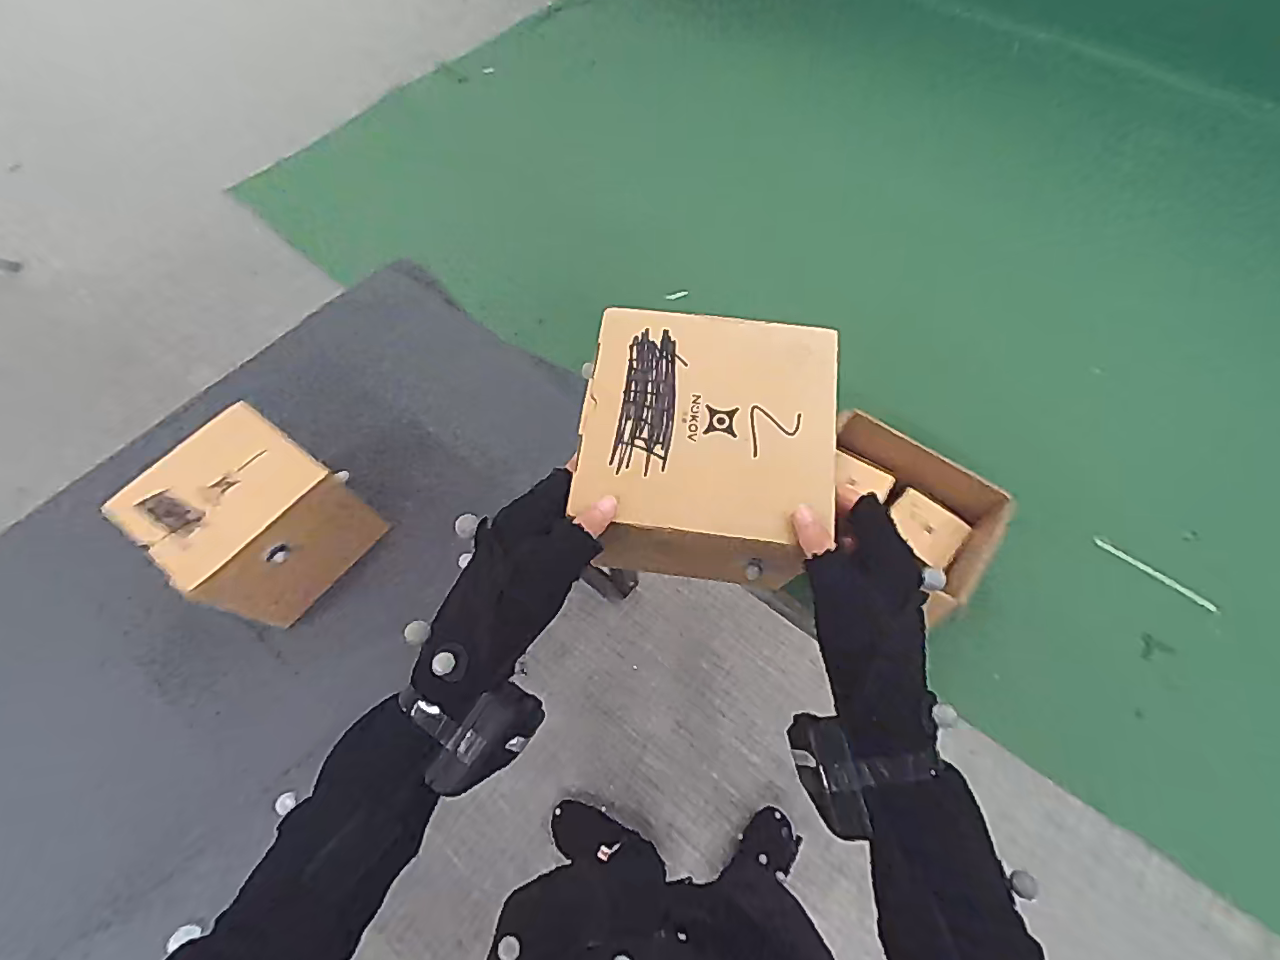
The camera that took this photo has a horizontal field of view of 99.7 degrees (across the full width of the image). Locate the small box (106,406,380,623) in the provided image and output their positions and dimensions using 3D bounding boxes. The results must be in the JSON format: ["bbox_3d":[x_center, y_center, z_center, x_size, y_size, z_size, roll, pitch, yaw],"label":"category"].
[{"bbox_3d":[-0.465,0.050,0.665,0.168,0.176,0.179,33,68,16],"label":"small box"}]
